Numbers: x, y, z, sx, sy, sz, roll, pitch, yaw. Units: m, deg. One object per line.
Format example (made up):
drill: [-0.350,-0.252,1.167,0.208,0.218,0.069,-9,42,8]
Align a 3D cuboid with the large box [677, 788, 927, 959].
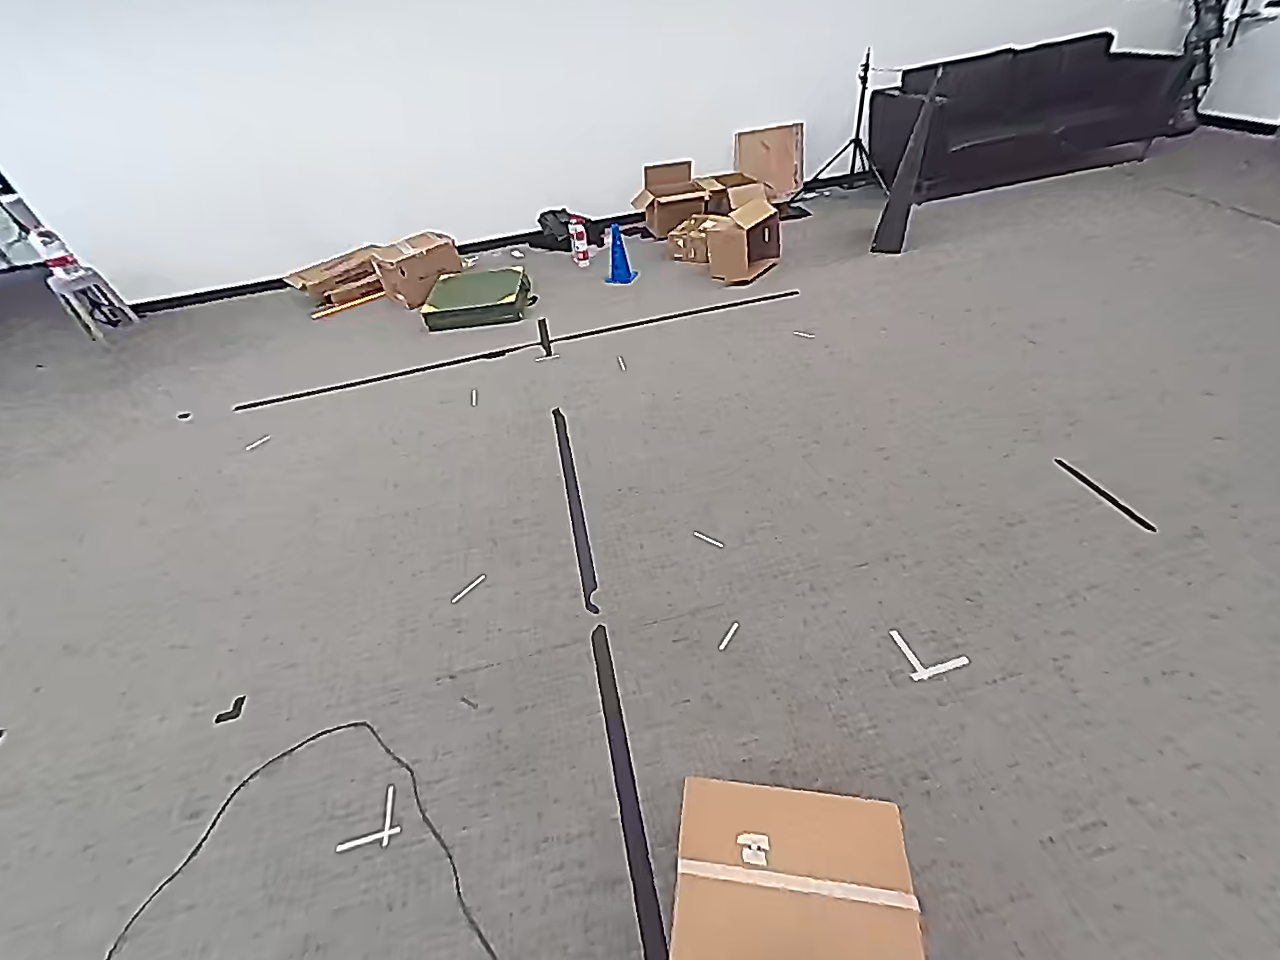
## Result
large box: [0.295,0.836,1.046,0.408,0.320,0.320,1,41,12]
